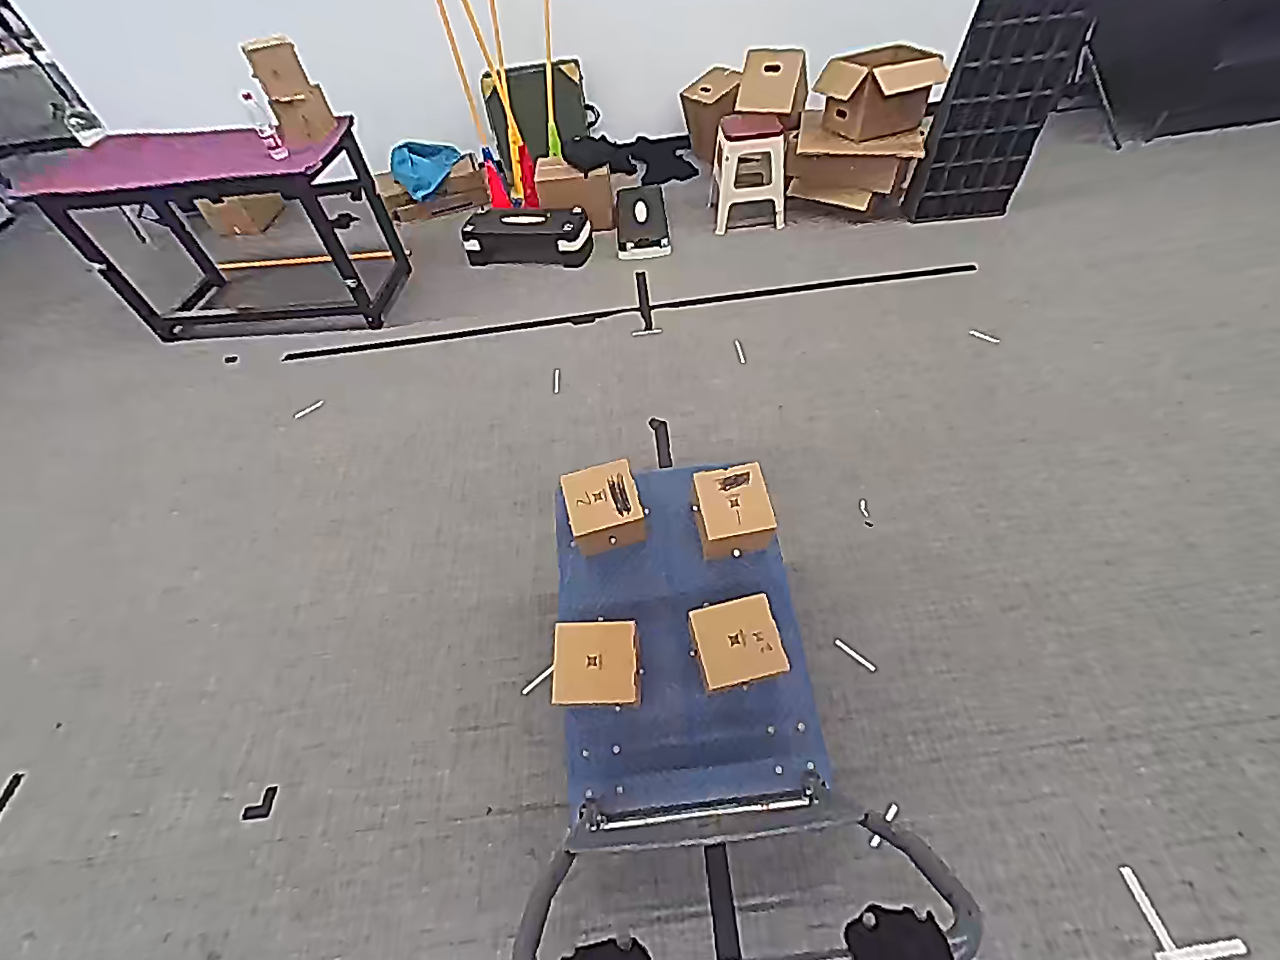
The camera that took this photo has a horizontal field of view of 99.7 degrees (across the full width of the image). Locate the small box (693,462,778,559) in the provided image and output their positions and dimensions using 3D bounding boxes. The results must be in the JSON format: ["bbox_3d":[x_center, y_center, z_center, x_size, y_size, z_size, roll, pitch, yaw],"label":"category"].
[{"bbox_3d":[0.230,0.080,1.349,0.168,0.176,0.179,-11,66,-1],"label":"small box"}]

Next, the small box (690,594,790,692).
[{"bbox_3d":[0.216,0.371,1.214,0.179,0.176,0.168,-13,65,-2],"label":"small box"}]

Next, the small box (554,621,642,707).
[{"bbox_3d":[-0.089,0.418,1.216,0.179,0.176,0.168,-2,65,1],"label":"small box"}]
